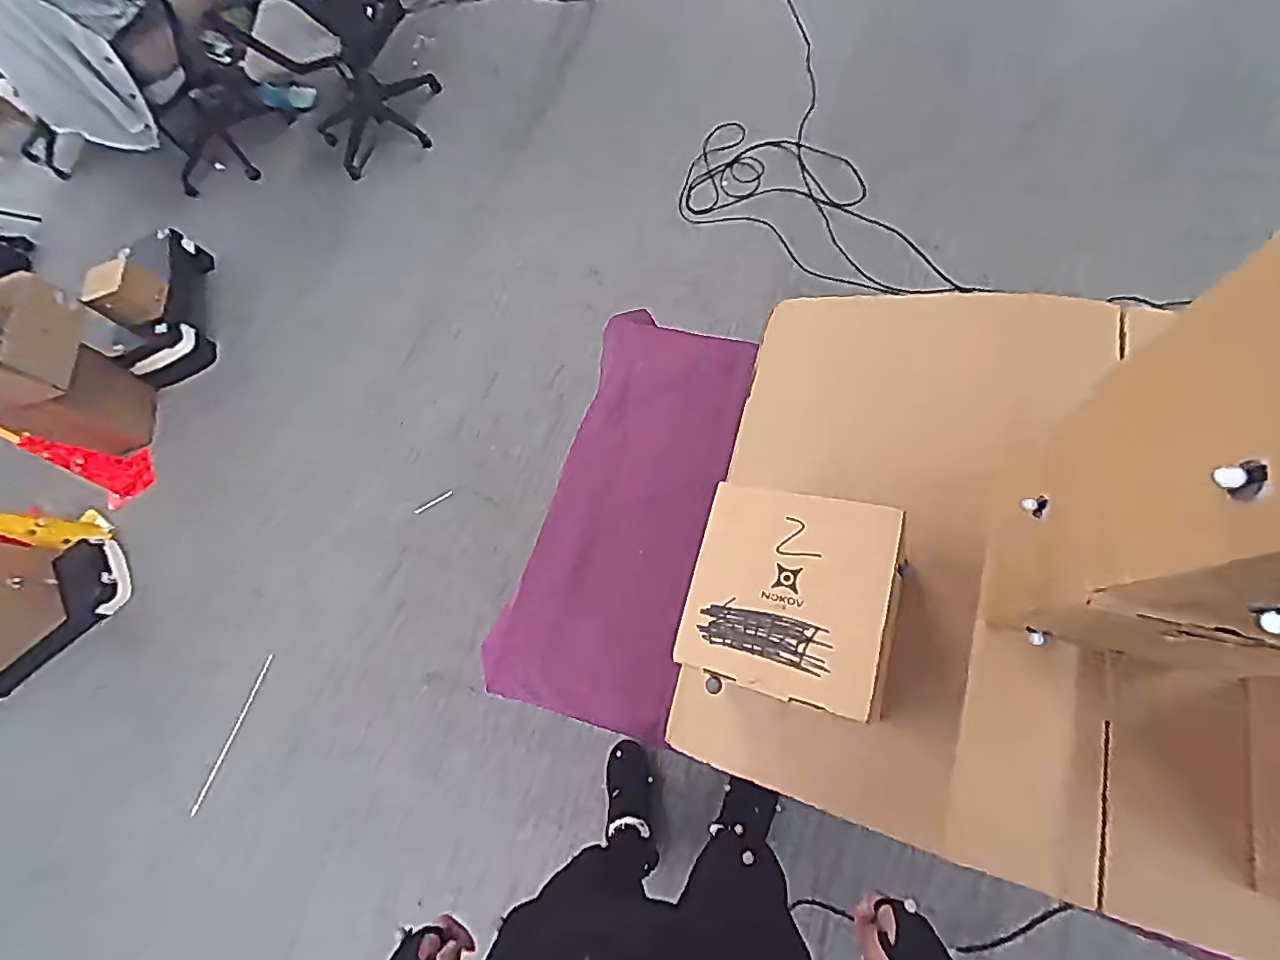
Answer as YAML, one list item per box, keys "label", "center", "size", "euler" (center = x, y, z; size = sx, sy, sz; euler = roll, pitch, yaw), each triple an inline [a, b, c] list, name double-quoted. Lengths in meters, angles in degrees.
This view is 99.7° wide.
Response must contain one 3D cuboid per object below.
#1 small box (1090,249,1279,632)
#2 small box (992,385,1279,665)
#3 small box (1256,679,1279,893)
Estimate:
- label: "small box"
  center: [0.400, -0.012, 0.308]
  size: [0.168, 0.176, 0.179]
  euler: [12, 74, 13]
- label: "small box"
  center: [0.425, 0.048, 0.456]
  size: [0.168, 0.176, 0.179]
  euler: [13, 72, 13]
- label: "small box"
  center: [0.582, 0.241, 0.362]
  size: [0.168, 0.176, 0.179]
  euler: [13, 74, 14]
